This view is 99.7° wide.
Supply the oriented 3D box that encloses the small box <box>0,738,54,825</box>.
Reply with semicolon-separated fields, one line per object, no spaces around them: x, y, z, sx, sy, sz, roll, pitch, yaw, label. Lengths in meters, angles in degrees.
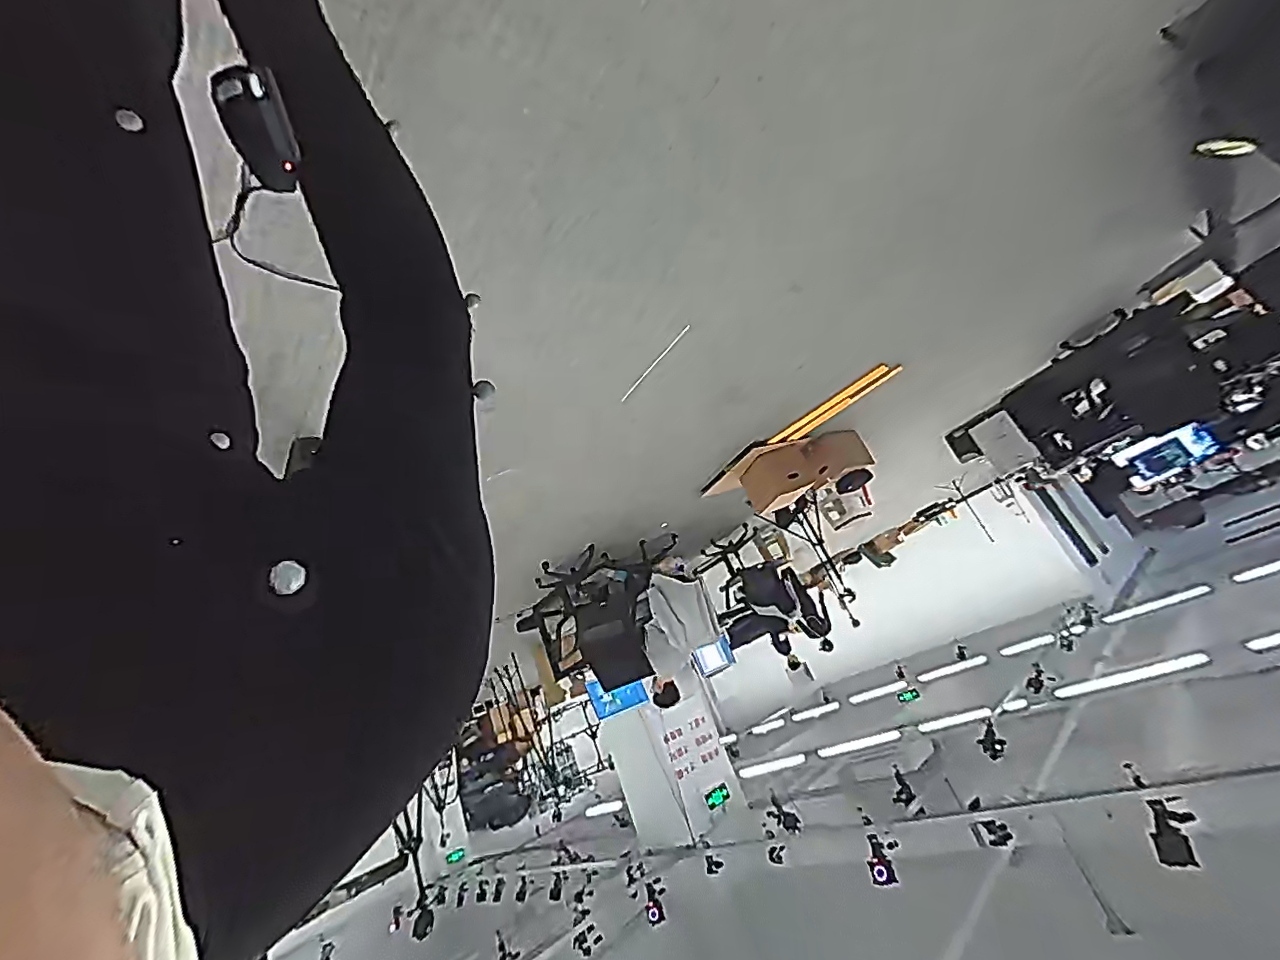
-1.446;0.700;1.211;0.168;0.176;0.179;-6;153;-41;small box
